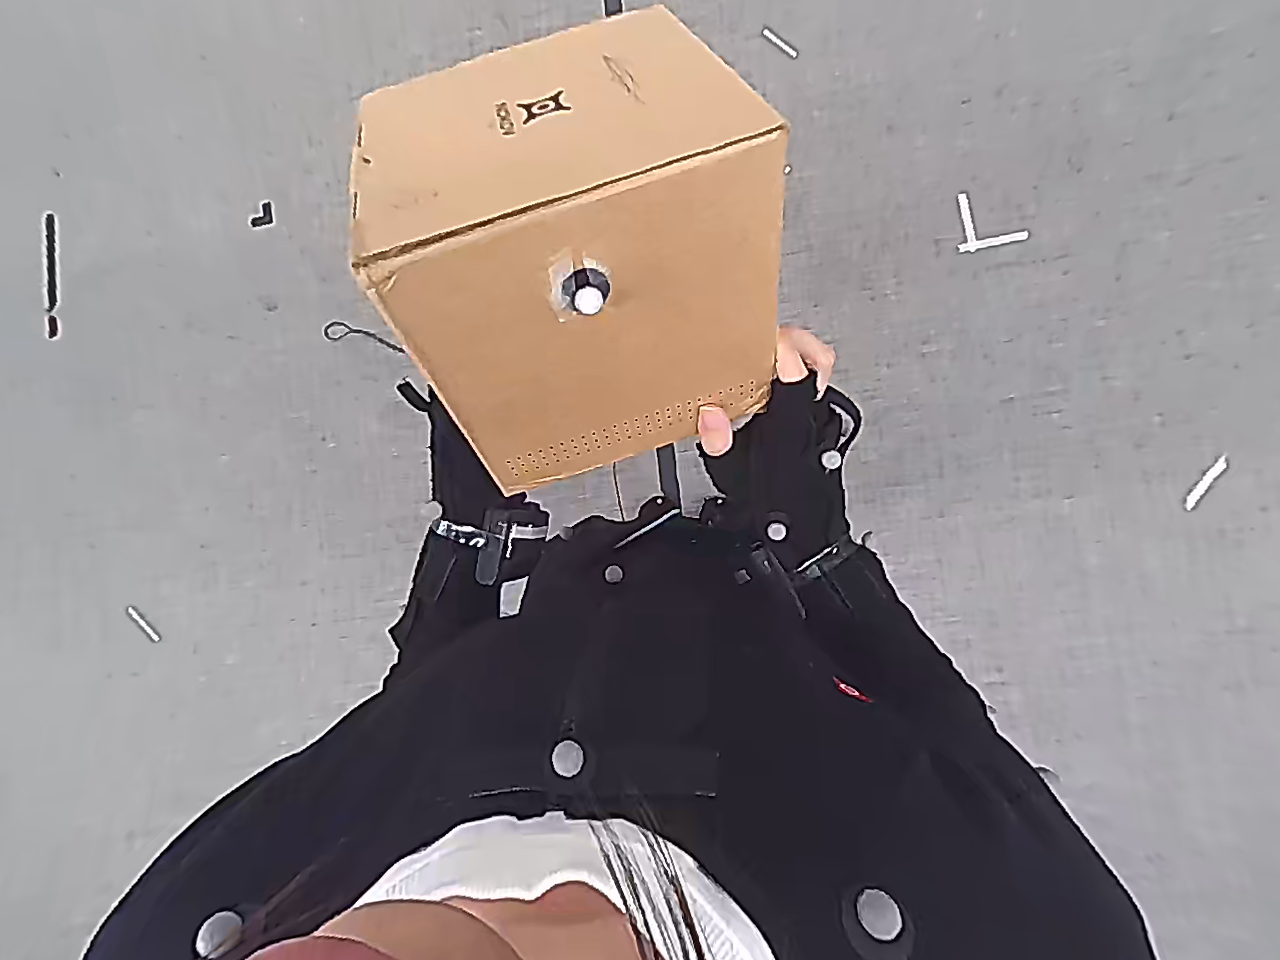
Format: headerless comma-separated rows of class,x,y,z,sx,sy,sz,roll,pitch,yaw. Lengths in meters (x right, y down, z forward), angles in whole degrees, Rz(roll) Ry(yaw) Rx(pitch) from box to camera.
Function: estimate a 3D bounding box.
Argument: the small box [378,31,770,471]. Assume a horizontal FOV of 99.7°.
small box,-0.032,-0.129,0.334,0.179,0.176,0.168,-18,55,-1
